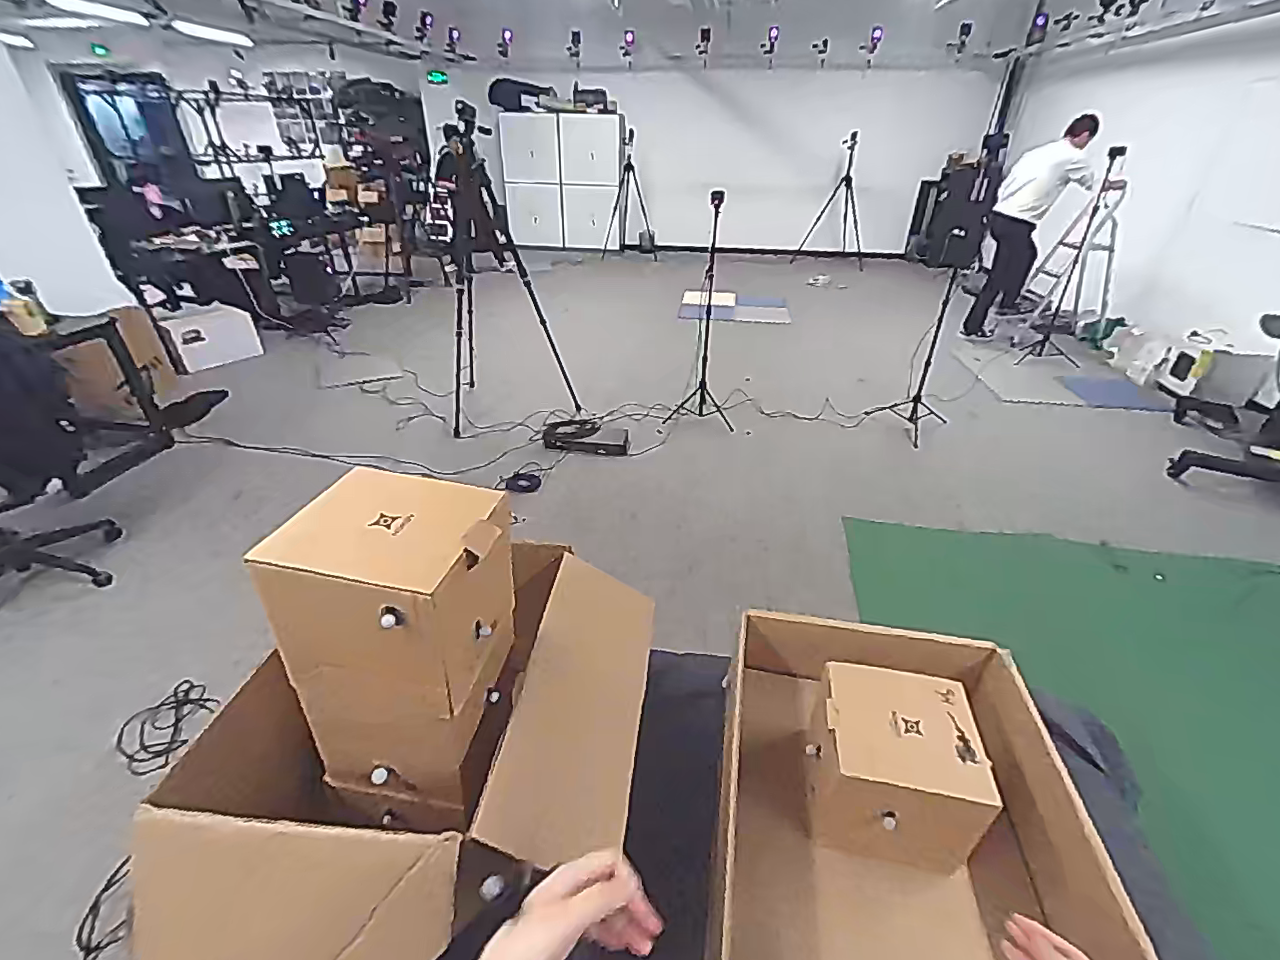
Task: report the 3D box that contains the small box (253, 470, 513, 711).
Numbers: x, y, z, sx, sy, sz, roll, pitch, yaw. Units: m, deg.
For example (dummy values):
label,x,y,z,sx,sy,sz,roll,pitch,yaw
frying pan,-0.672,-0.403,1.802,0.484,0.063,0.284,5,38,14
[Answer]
label,x,y,z,sx,sy,sz,roll,pitch,yaw
small box,-0.243,0.111,0.562,0.179,0.176,0.168,9,31,5

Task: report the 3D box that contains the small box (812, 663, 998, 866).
label,x,y,z,sx,sy,sz,roll,pitch,yaw
small box,0.326,0.371,0.713,0.179,0.176,0.168,5,34,10
